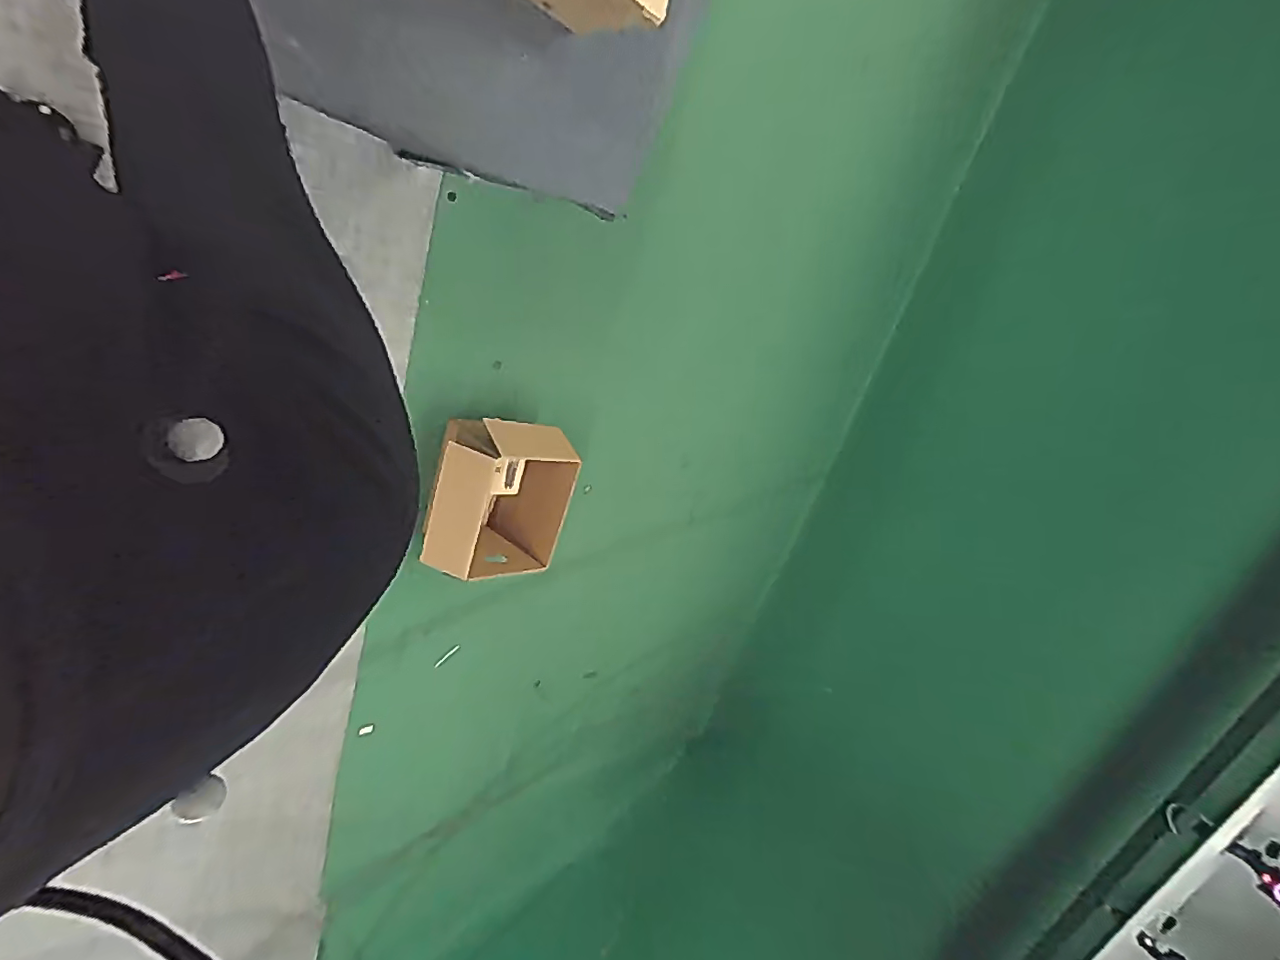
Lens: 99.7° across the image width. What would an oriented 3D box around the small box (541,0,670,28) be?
[{"bbox_3d":[-0.058,-0.625,0.576,0.168,0.176,0.179,-4,119,-47],"label":"small box"}]
